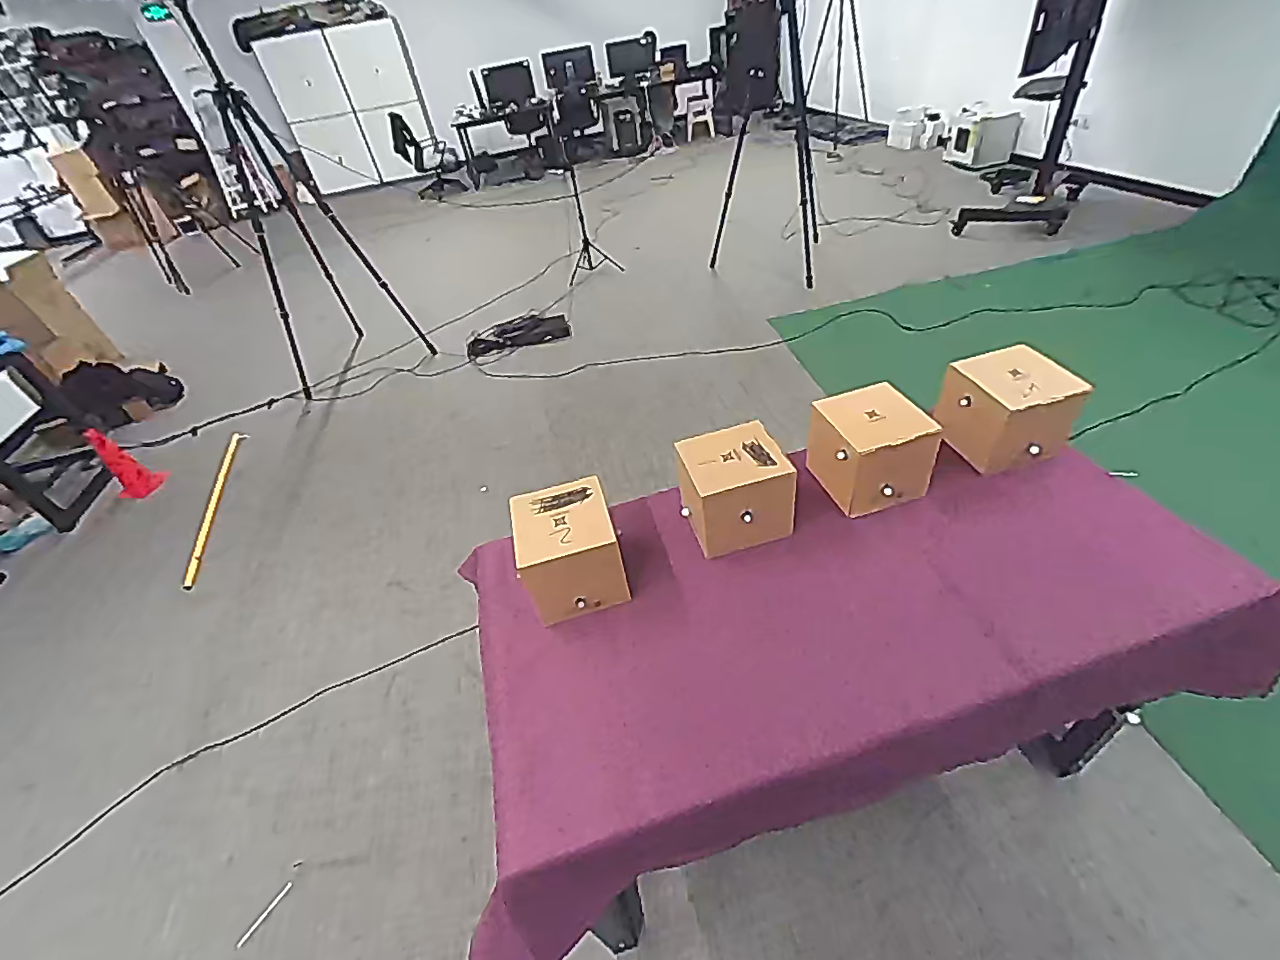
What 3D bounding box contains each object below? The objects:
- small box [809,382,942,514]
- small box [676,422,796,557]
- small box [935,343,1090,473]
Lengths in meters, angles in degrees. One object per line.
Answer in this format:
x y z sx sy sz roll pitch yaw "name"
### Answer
0.448 -0.062 1.063 0.168 0.176 0.179 -17 42 -5 "small box"
0.179 0.019 1.033 0.179 0.176 0.168 -16 41 -4 "small box"
0.725 -0.143 1.080 0.168 0.176 0.179 -16 44 -3 "small box"
